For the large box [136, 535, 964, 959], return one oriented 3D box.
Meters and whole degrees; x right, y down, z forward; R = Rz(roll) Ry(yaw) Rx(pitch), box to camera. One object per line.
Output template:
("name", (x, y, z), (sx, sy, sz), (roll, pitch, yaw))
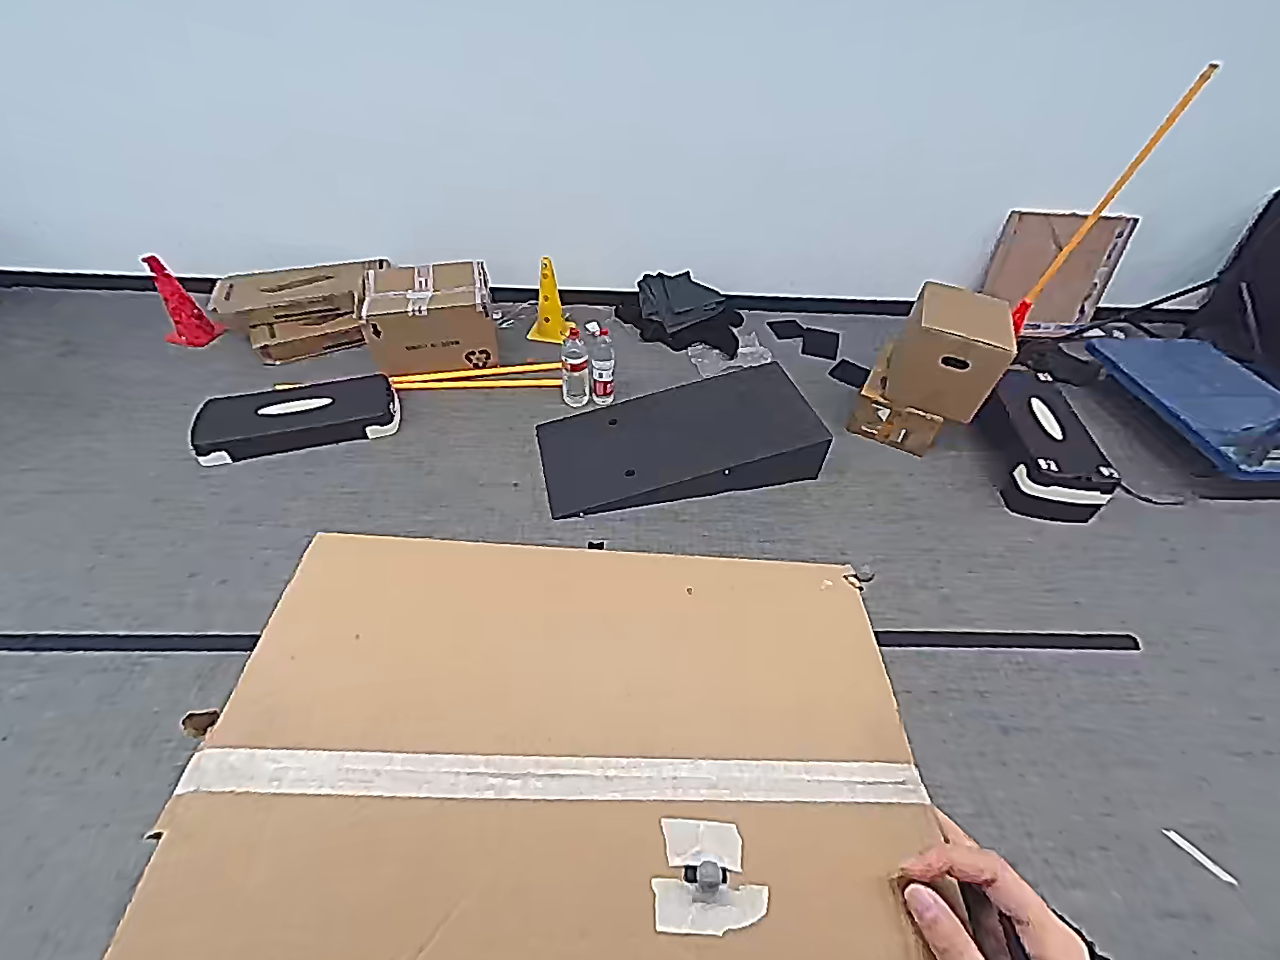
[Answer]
("large box", (-0.050, 0.267, 0.427), (0.408, 0.320, 0.320), (5, 48, -6))
